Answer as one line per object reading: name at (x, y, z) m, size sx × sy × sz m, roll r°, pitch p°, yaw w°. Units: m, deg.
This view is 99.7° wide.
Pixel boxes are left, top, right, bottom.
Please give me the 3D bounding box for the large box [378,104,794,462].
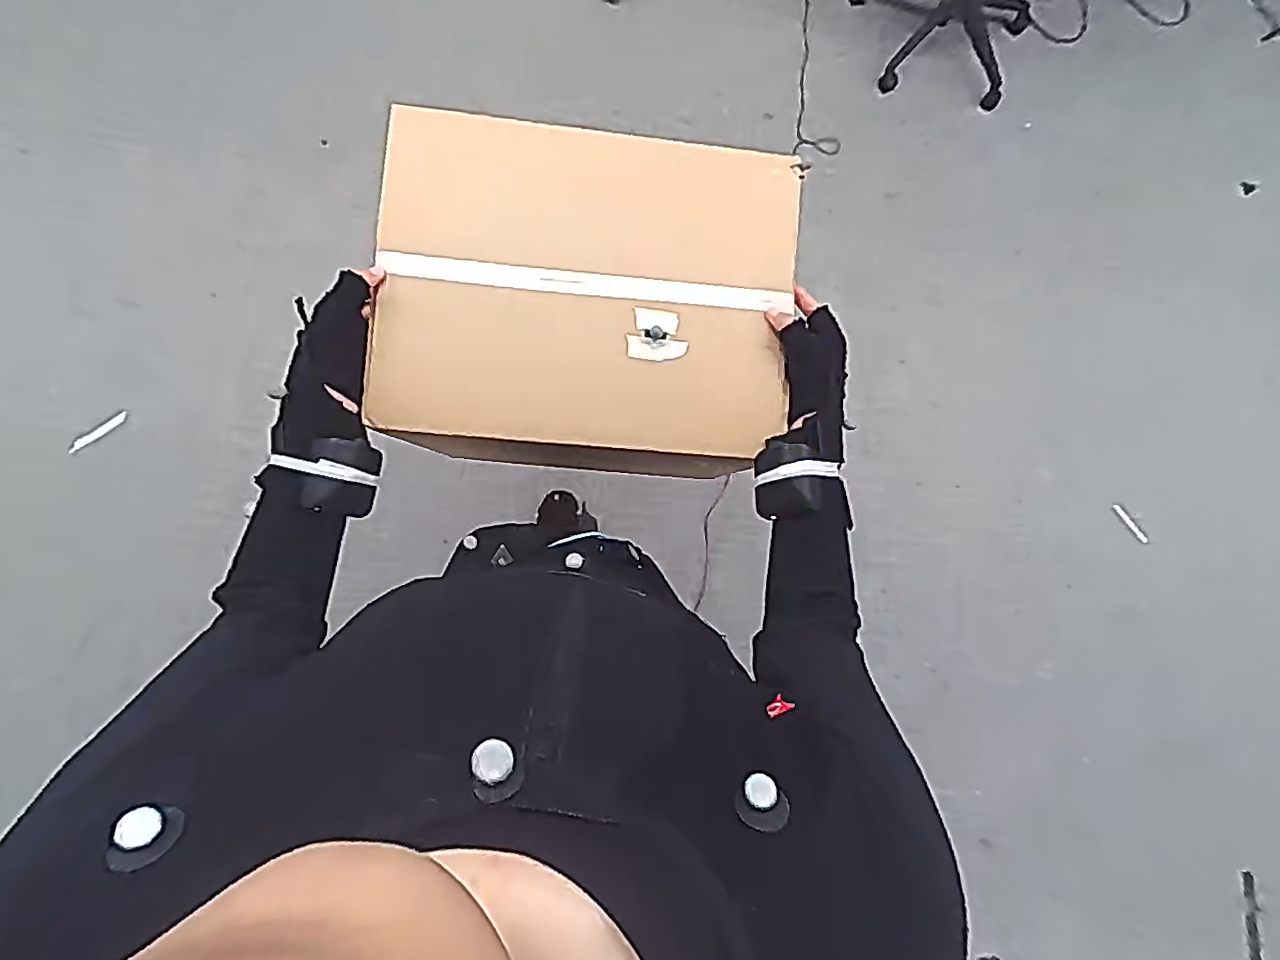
large box at (-0.061, -0.198, 0.687) m, size 0.408 × 0.320 × 0.320 m, roll 5°, pitch 88°, yaw -6°
